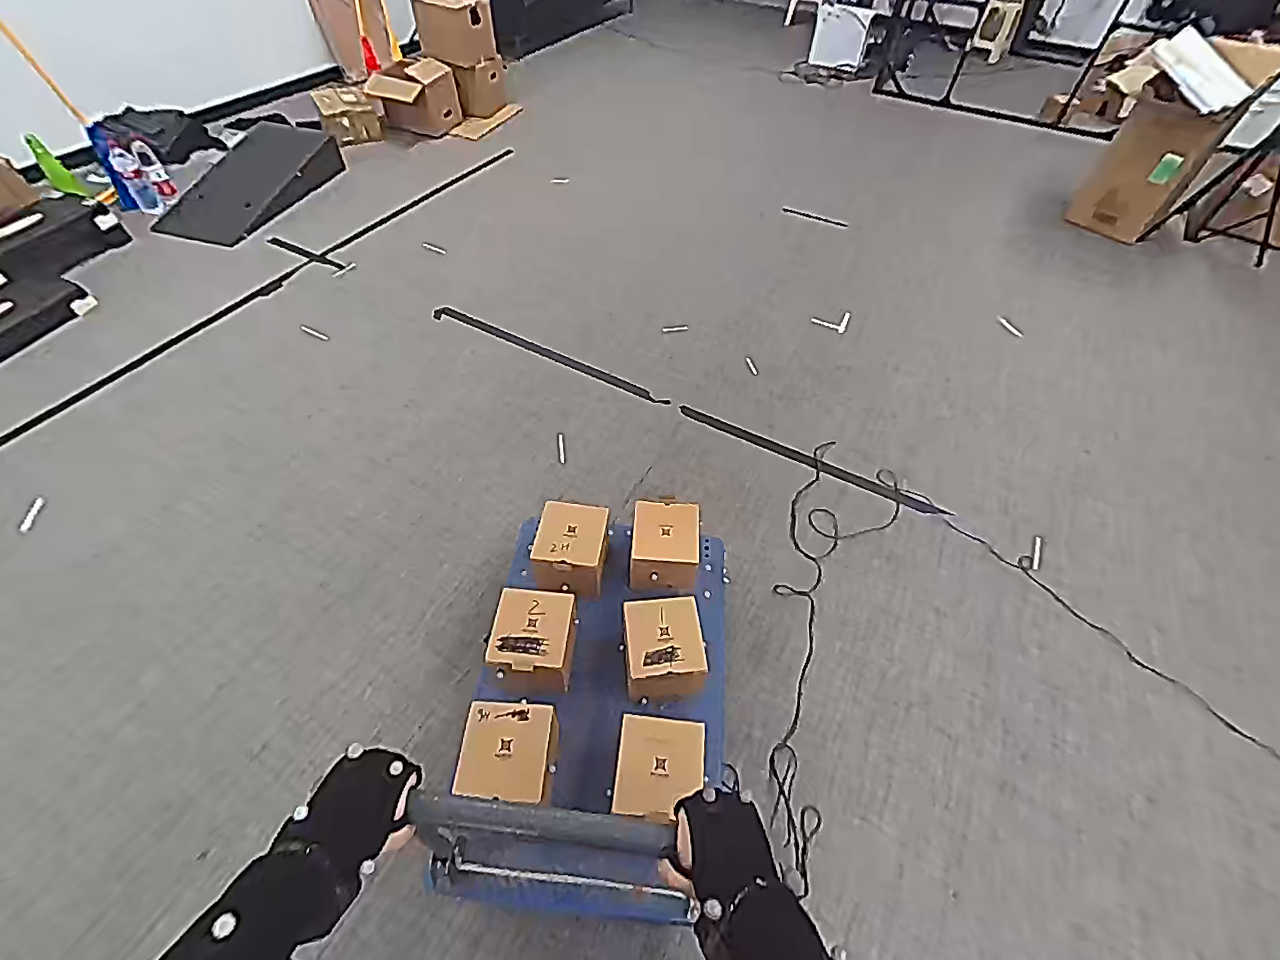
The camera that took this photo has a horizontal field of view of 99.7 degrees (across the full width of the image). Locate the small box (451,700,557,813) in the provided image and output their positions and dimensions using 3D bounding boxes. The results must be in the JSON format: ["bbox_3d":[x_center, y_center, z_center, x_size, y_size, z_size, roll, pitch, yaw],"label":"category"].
[{"bbox_3d":[-0.262,0.563,1.094,0.168,0.176,0.179,4,52,-1],"label":"small box"}]

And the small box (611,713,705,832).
[{"bbox_3d":[0.035,0.593,1.089,0.168,0.176,0.179,7,51,2],"label":"small box"}]

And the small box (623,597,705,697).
[{"bbox_3d":[0.049,0.391,1.250,0.168,0.176,0.179,-3,51,-6],"label":"small box"}]

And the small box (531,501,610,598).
[{"bbox_3d":[-0.174,0.181,1.402,0.168,0.176,0.179,8,52,3],"label":"small box"}]

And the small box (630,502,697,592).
[{"bbox_3d":[0.060,0.179,1.420,0.168,0.176,0.179,4,51,0],"label":"small box"}]
